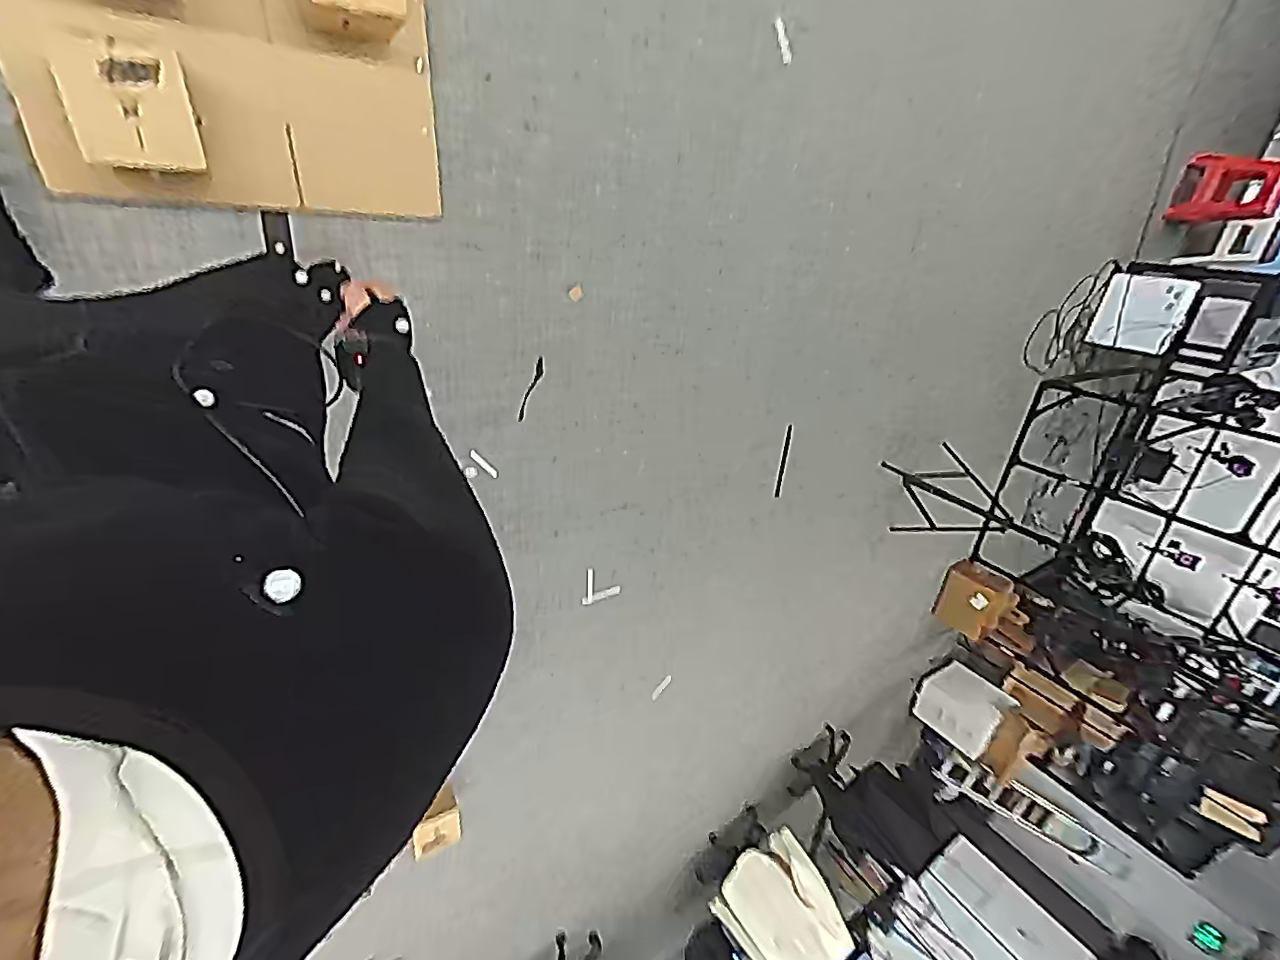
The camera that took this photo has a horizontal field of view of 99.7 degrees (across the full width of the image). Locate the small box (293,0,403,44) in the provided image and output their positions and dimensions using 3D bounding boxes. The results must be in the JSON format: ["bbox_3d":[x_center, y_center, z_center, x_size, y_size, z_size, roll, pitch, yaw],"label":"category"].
[{"bbox_3d":[-0.561,-0.952,1.009,0.168,0.176,0.179,-16,122,-29],"label":"small box"}]

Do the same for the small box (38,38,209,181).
[{"bbox_3d":[-0.878,-0.627,0.940,0.168,0.176,0.179,-13,121,-29],"label":"small box"}]
